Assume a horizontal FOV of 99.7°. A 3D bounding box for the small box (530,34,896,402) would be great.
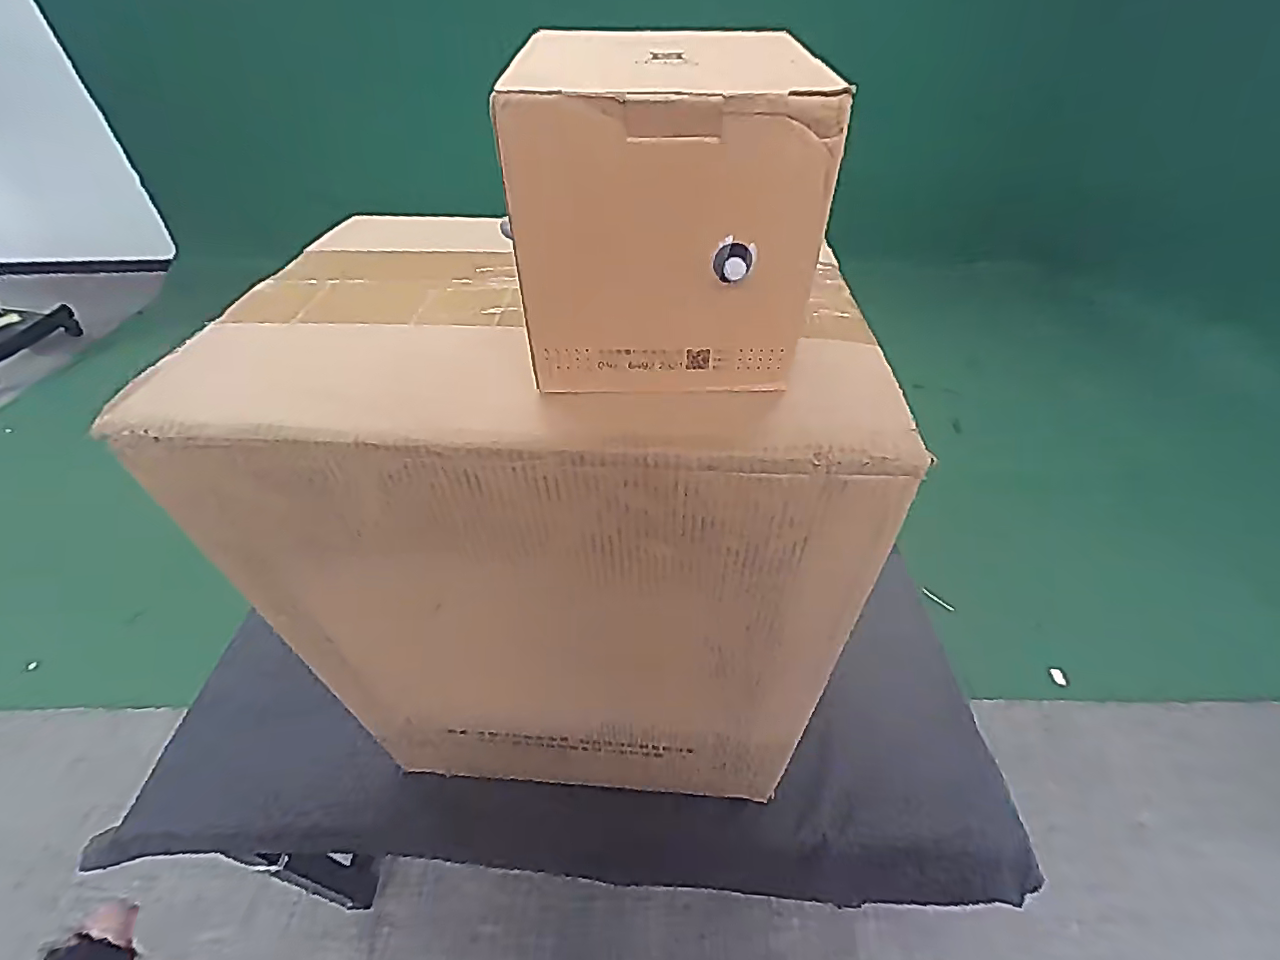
[{"bbox_3d":[0.030,-0.166,0.350,0.168,0.176,0.179,1,46,-3],"label":"small box"}]
